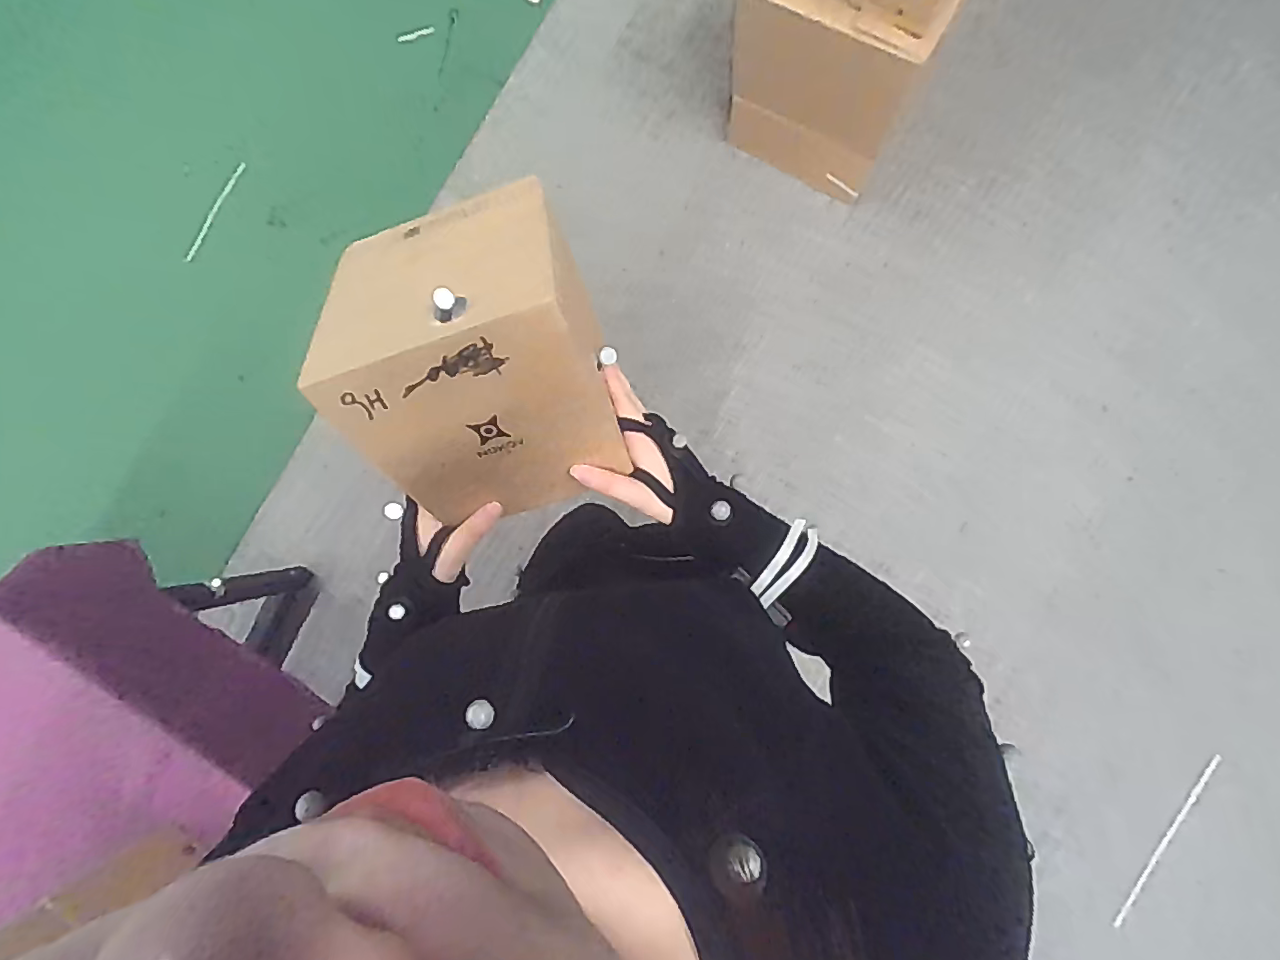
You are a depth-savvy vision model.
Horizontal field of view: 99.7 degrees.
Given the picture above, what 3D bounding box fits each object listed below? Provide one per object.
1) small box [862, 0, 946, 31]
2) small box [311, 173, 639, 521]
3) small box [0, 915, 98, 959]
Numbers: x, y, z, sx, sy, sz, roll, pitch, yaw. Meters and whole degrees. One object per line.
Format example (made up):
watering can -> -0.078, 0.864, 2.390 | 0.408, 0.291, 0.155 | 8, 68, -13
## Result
small box -> 0.500, -0.952, 0.945 | 0.168, 0.176, 0.179 | 34, 91, 9
small box -> -0.109, -0.098, 0.425 | 0.168, 0.179, 0.176 | -17, 52, 6
small box -> -0.725, 0.641, 0.587 | 0.168, 0.176, 0.179 | 28, 93, 8
